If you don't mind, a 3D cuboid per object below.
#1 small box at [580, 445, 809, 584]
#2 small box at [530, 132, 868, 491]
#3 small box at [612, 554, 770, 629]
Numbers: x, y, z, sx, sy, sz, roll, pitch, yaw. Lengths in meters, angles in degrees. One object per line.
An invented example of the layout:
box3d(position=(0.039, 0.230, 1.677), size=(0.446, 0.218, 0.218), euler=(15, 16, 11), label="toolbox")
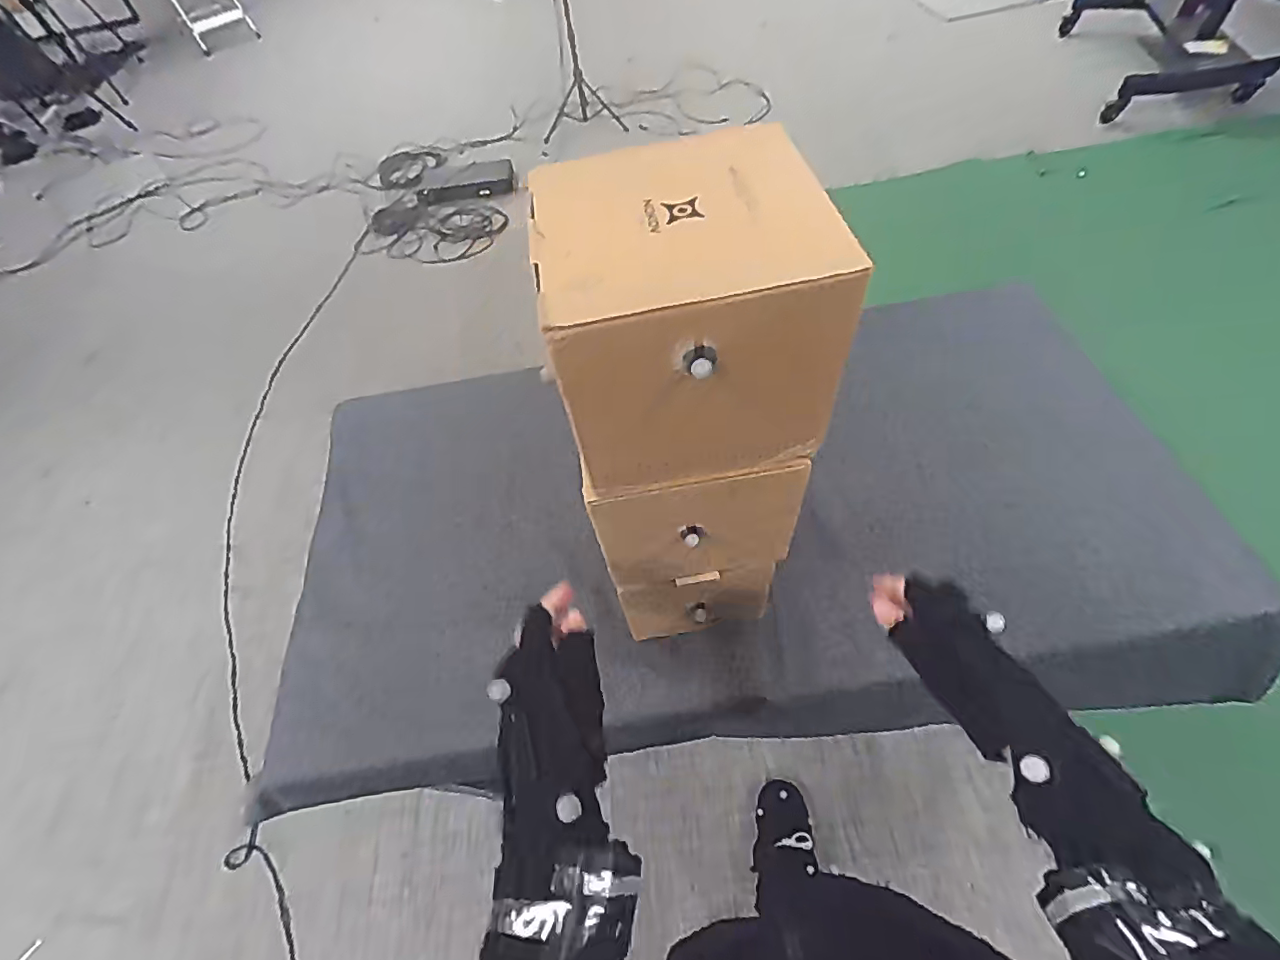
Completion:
box3d(position=(0.042, -0.016, 0.520), size=(0.179, 0.176, 0.168), euler=(-10, 57, 1), label="small box")
box3d(position=(0.030, -0.109, 0.388), size=(0.179, 0.176, 0.168), euler=(-11, 58, -1), label="small box")
box3d(position=(0.051, 0.071, 0.660), size=(0.168, 0.176, 0.179), euler=(-10, 57, 0), label="small box")
